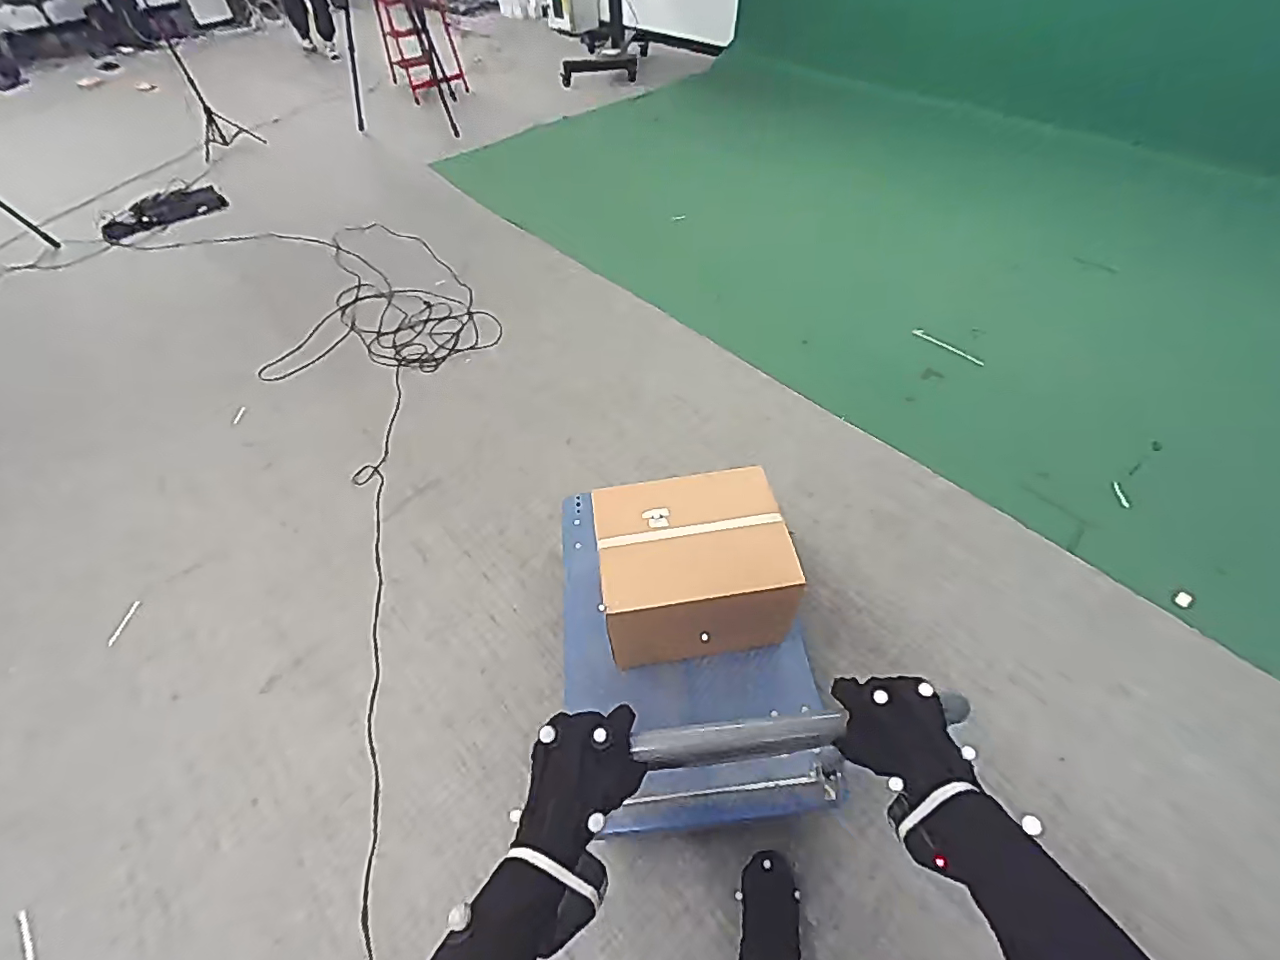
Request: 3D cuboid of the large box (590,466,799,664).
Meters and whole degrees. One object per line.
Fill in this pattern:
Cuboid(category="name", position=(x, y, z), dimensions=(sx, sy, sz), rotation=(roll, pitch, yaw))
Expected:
Cuboid(category="large box", position=(0.114, 0.208, 1.286), dimensions=(0.408, 0.320, 0.320), rotation=(-9, 51, -3))
